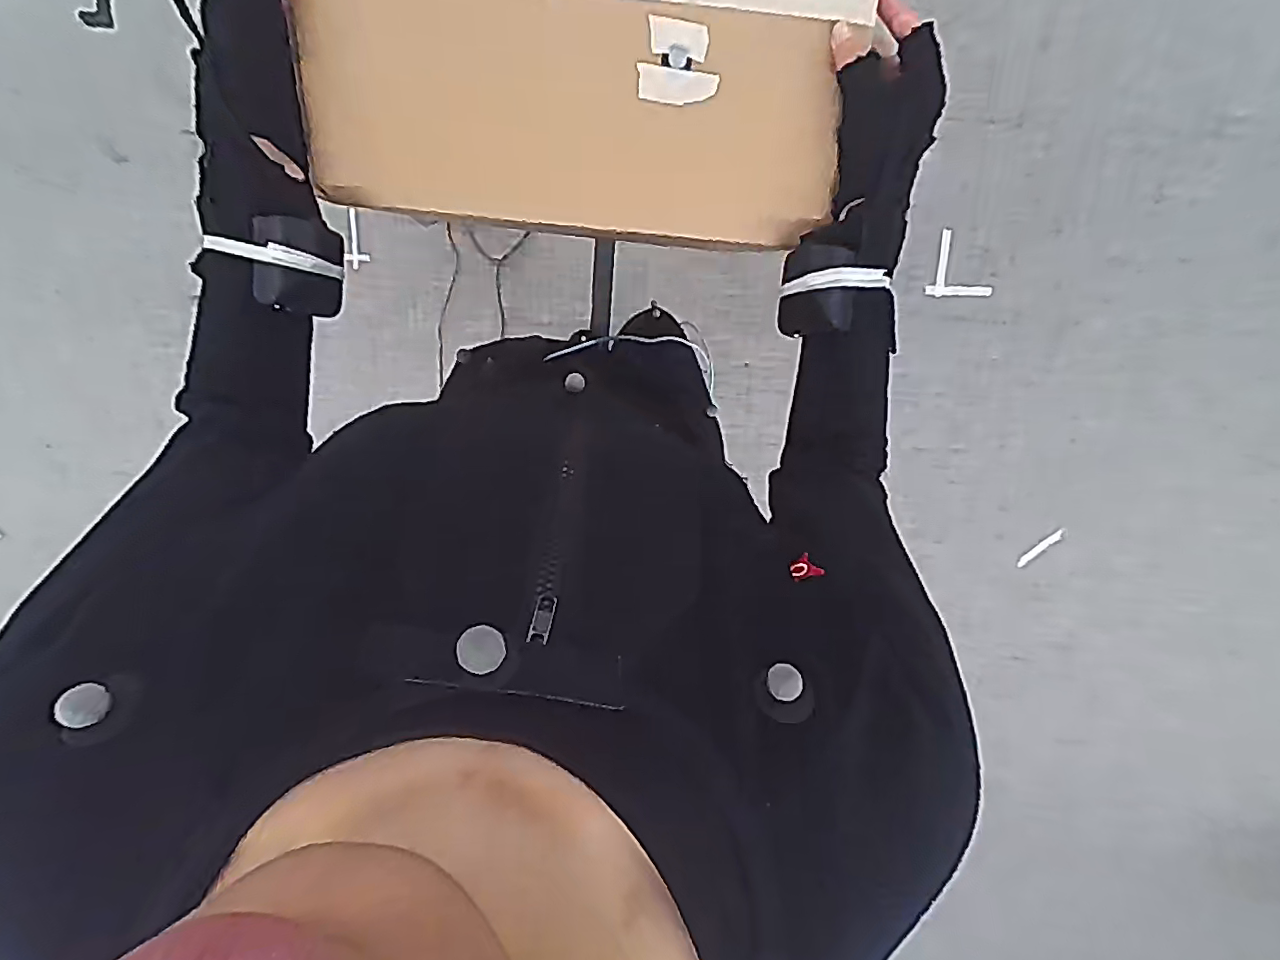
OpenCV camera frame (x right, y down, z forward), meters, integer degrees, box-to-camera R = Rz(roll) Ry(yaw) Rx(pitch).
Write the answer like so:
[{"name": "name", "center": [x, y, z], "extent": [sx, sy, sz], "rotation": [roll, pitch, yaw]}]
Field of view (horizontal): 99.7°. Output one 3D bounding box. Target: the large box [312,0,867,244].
[{"name": "large box", "center": [-0.039, -0.412, 0.520], "extent": [0.408, 0.320, 0.320], "rotation": [4, 113, -4]}]
